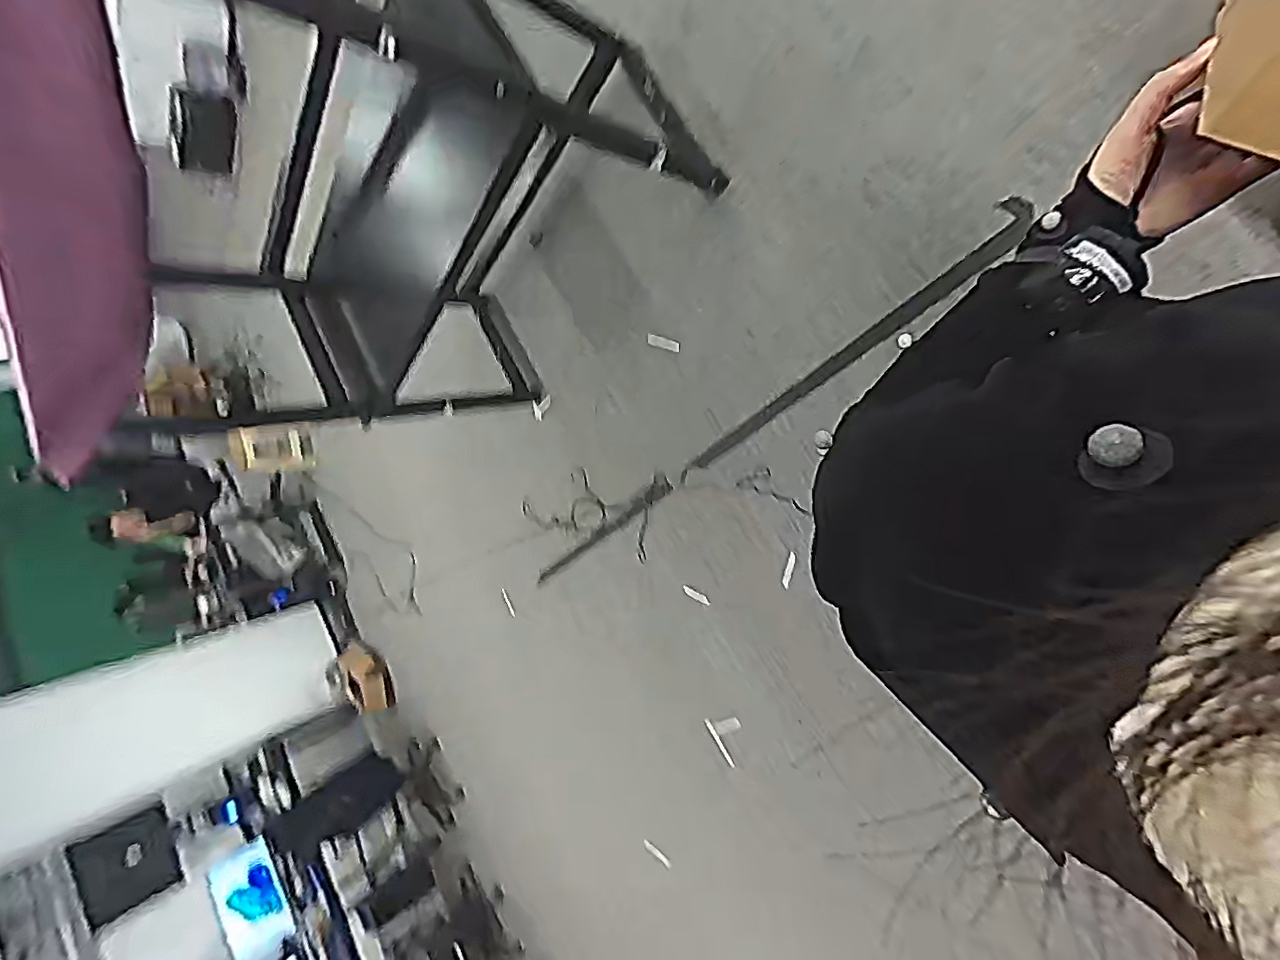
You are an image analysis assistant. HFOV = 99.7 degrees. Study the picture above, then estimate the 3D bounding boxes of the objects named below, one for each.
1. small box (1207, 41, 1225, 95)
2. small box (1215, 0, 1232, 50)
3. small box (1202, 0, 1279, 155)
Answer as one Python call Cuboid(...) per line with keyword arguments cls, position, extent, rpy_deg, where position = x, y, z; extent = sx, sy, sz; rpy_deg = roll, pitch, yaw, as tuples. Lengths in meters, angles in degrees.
Cuboid(cls="small box", position=(1.034, -0.663, 0.836), extent=(0.179, 0.176, 0.168), rpy_deg=(-35, 78, 40))
Cuboid(cls="small box", position=(0.928, -0.637, 0.713), extent=(0.168, 0.176, 0.179), rpy_deg=(-41, 75, 39))
Cuboid(cls="small box", position=(0.394, -0.233, 0.216), extent=(0.179, 0.176, 0.168), rpy_deg=(28, 153, 14))
